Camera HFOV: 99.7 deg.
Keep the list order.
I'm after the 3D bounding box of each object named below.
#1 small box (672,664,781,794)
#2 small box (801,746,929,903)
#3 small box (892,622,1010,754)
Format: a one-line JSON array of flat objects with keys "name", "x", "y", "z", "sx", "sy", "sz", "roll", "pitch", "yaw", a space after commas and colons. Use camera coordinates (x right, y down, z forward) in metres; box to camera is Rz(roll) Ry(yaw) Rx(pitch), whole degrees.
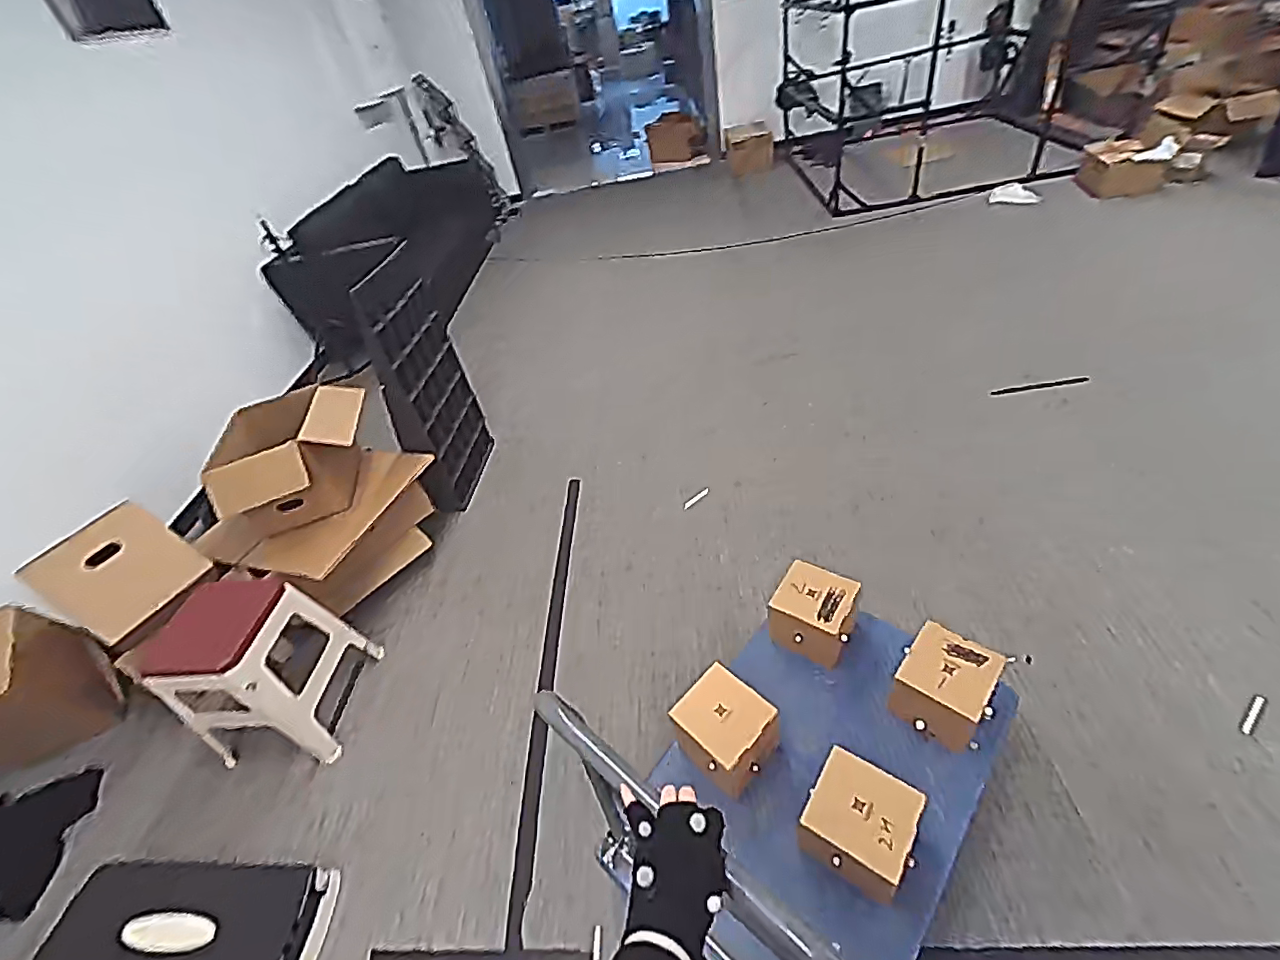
[{"name": "small box", "x": 0.195, "y": 0.560, "z": 1.214, "sx": 0.168, "sy": 0.176, "sz": 0.179, "roll": -37, "pitch": 48, "yaw": -26}, {"name": "small box", "x": 0.424, "y": 0.660, "z": 1.035, "sx": 0.179, "sy": 0.176, "sz": 0.168, "roll": 20, "pitch": 51, "yaw": 33}, {"name": "small box", "x": 0.677, "y": 0.458, "z": 1.195, "sx": 0.168, "sy": 0.176, "sz": 0.179, "roll": 26, "pitch": 55, "yaw": 37}]
